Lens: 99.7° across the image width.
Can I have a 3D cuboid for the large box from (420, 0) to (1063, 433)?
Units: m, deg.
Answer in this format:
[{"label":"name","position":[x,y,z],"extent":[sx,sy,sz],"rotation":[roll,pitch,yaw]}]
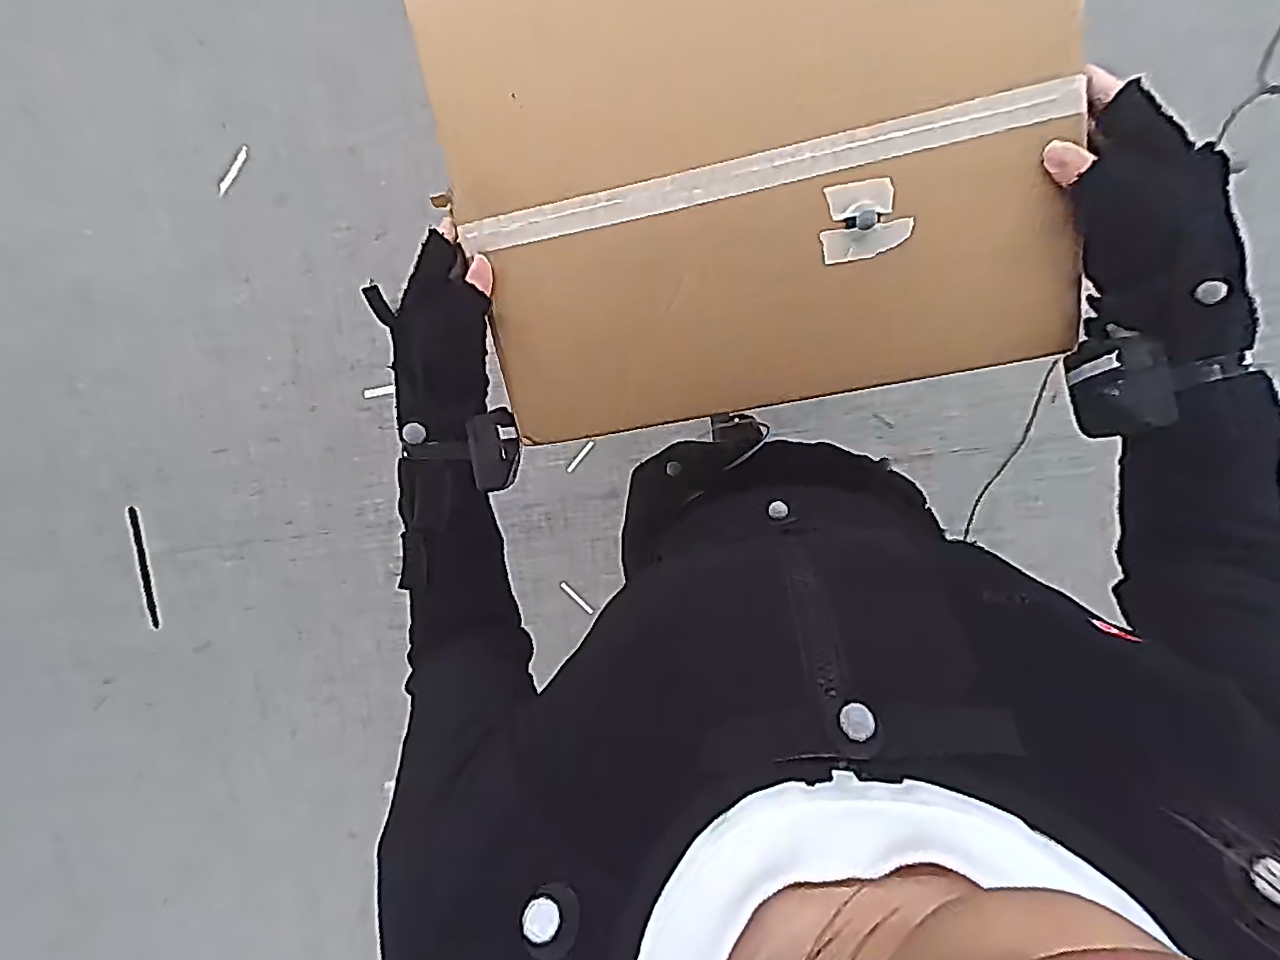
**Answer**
[{"label":"large box","position":[0.084,-0.258,0.514],"extent":[0.408,0.320,0.320],"rotation":[-10,107,7]}]
